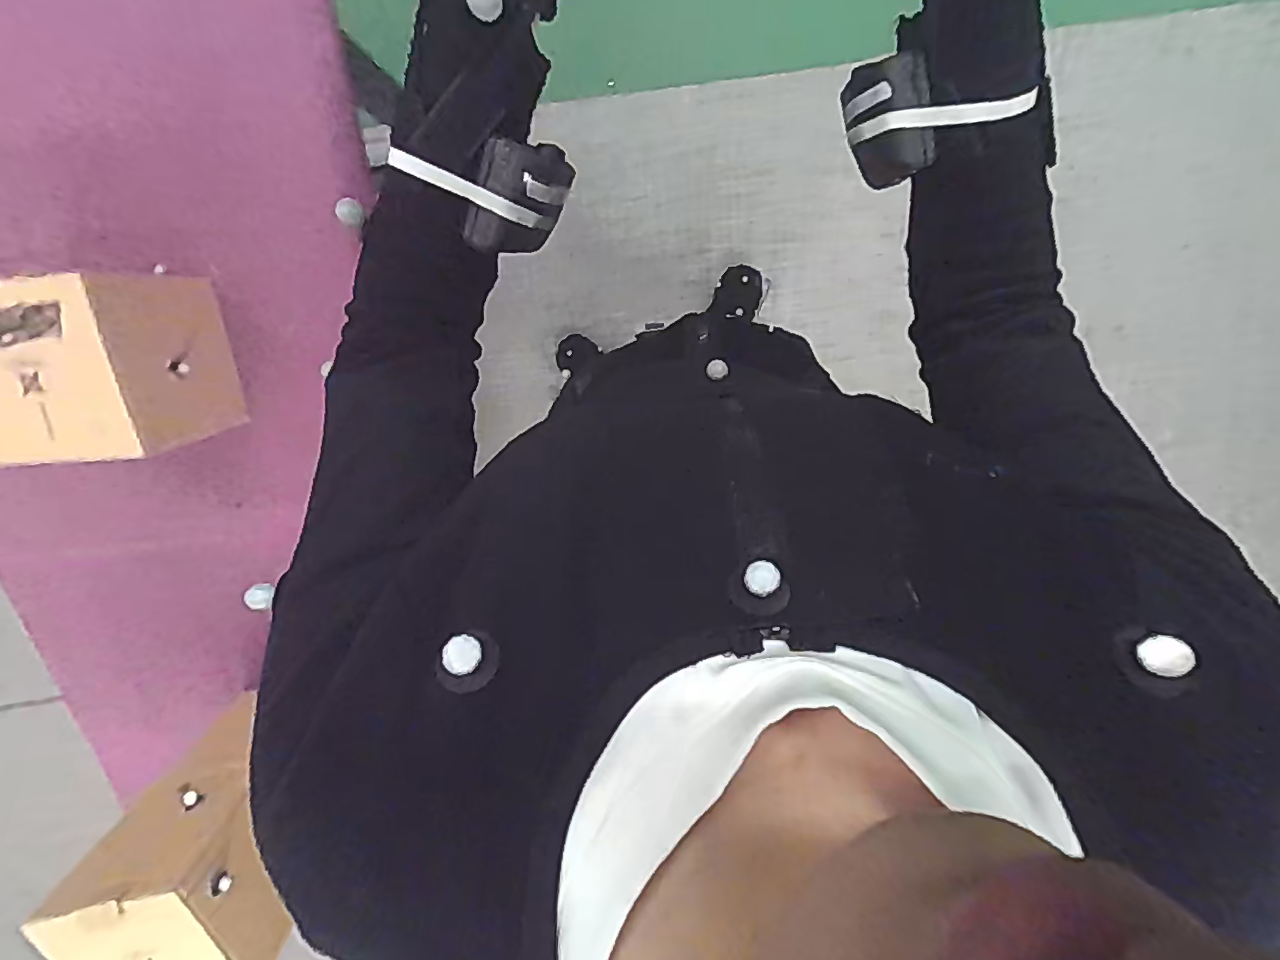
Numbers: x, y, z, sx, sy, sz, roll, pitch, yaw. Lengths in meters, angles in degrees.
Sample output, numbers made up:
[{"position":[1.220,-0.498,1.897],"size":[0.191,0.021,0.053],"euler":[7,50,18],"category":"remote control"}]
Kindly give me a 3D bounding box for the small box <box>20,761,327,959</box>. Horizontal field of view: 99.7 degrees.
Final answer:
[{"position":[-0.504,0.466,0.621],"size":[0.168,0.176,0.179],"euler":[-15,107,3],"category":"small box"}]

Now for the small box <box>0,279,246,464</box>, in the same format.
[{"position":[-0.584,-0.124,0.595],"size":[0.168,0.176,0.179],"euler":[1,108,1],"category":"small box"}]
